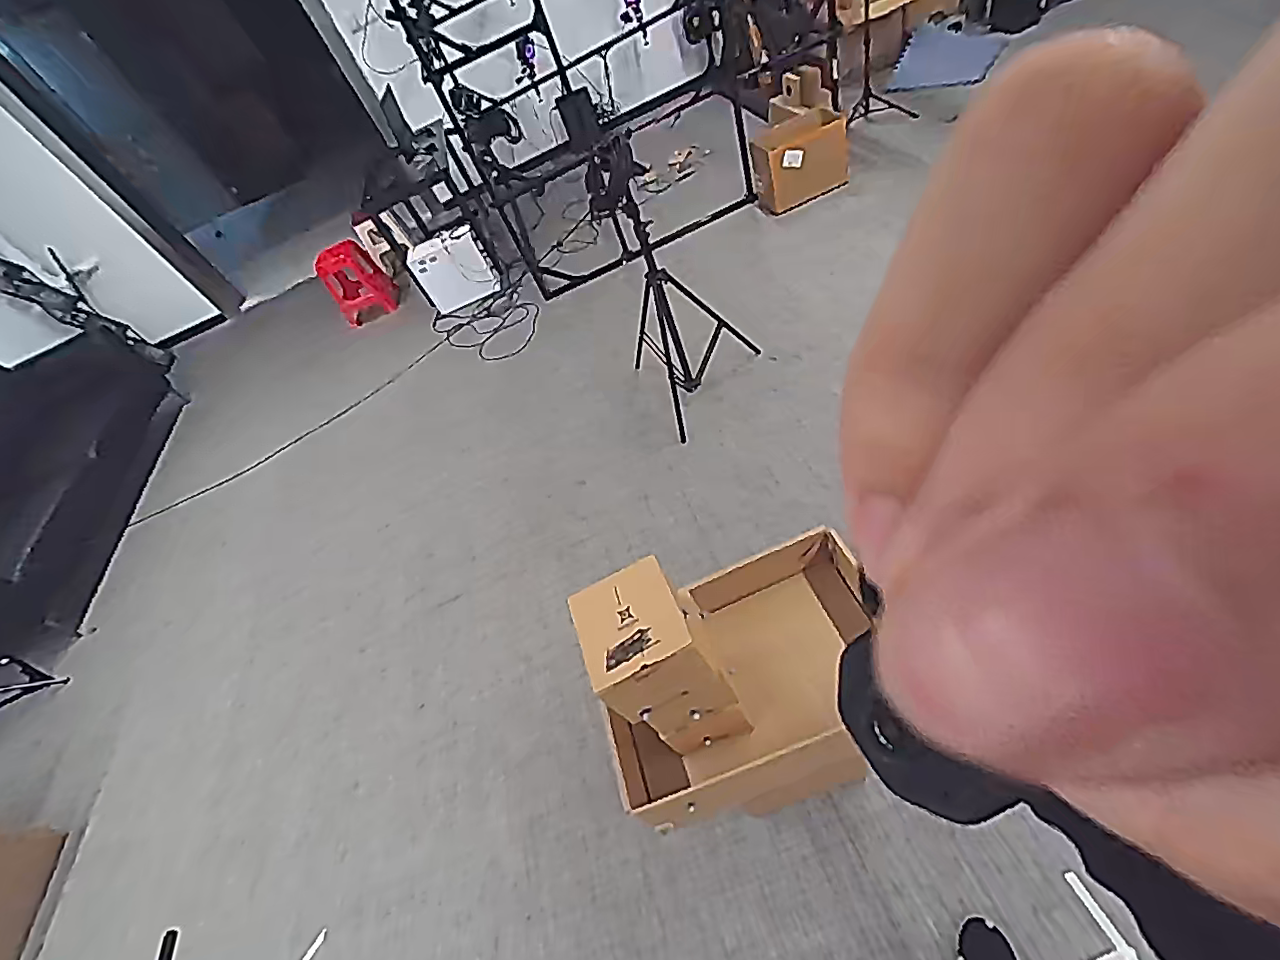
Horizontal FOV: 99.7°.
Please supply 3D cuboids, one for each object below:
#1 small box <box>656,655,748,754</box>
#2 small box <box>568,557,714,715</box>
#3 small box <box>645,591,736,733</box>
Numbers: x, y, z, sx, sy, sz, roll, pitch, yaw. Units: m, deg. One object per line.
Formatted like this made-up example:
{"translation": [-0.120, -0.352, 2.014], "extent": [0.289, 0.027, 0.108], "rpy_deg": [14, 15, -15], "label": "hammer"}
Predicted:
{"translation": [0.113, 0.451, 1.149], "extent": [0.168, 0.176, 0.179], "rpy_deg": [-25, 48, 3], "label": "small box"}
{"translation": [0.005, 0.267, 0.899], "extent": [0.168, 0.176, 0.179], "rpy_deg": [-27, 47, 1], "label": "small box"}
{"translation": [0.064, 0.349, 1.029], "extent": [0.168, 0.176, 0.179], "rpy_deg": [-26, 48, 3], "label": "small box"}
